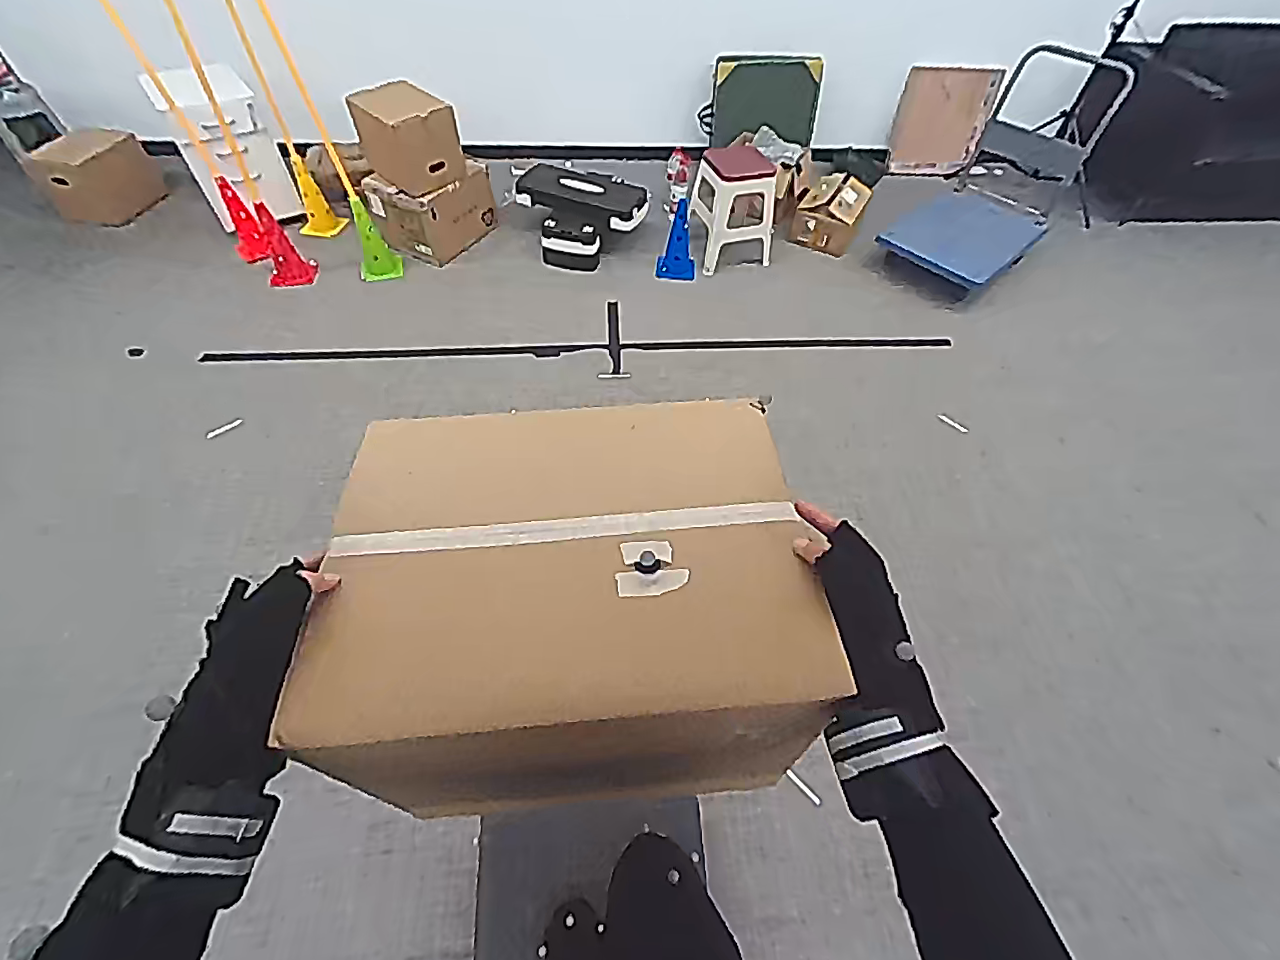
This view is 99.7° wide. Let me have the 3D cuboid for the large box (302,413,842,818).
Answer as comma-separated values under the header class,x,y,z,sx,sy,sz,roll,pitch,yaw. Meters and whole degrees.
class,x,y,z,sx,sy,sz,roll,pitch,yaw
large box,-0.058,0.152,0.600,0.408,0.320,0.320,-4,50,-3
